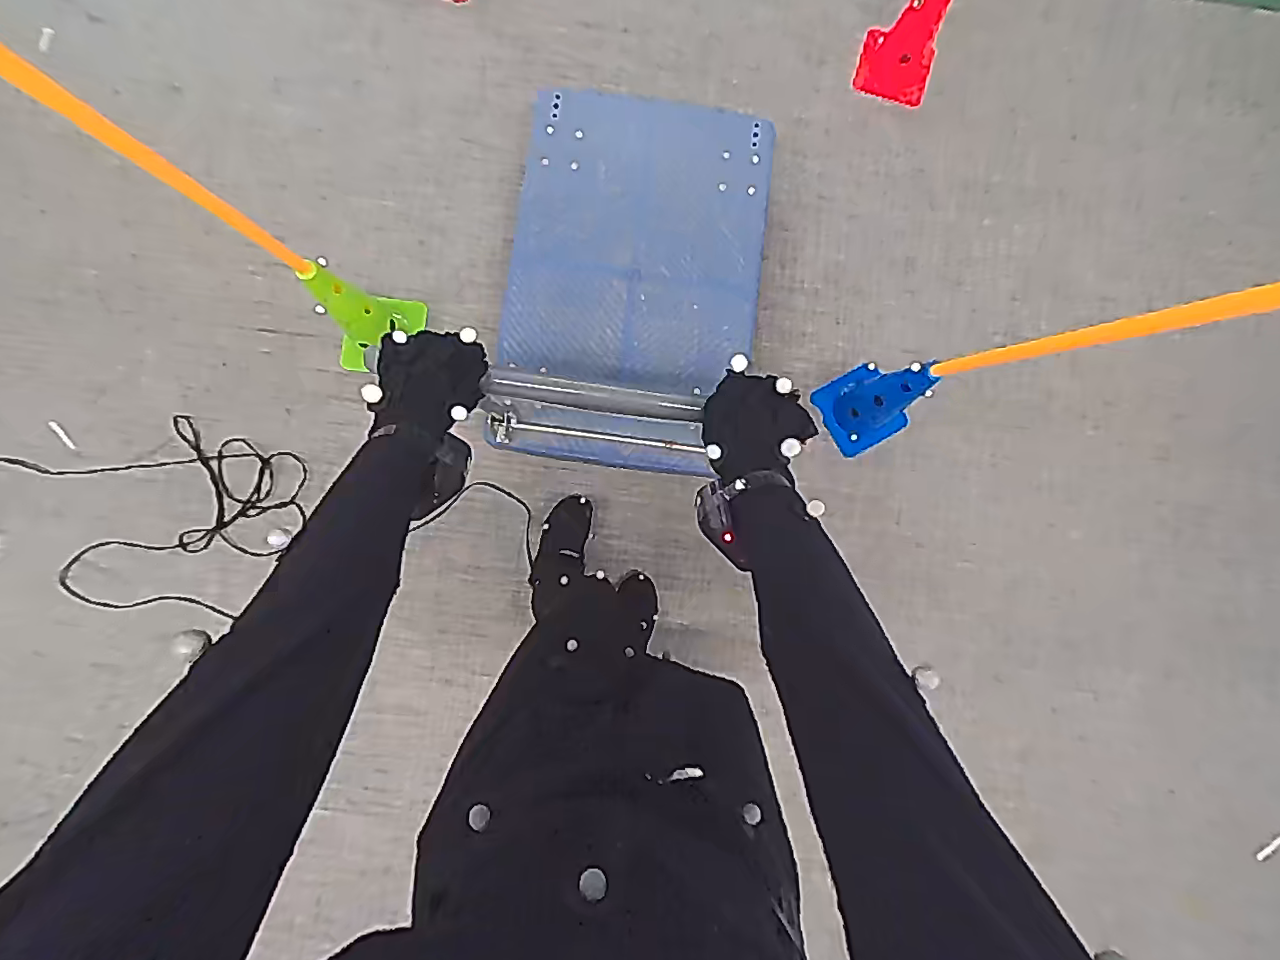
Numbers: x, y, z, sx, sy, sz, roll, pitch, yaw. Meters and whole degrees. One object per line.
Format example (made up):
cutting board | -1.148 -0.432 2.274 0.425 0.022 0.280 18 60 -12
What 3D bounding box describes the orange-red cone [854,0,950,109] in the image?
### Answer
orange-red cone | 0.715 -1.164 1.345 0.198 0.360 0.199 19 85 1
